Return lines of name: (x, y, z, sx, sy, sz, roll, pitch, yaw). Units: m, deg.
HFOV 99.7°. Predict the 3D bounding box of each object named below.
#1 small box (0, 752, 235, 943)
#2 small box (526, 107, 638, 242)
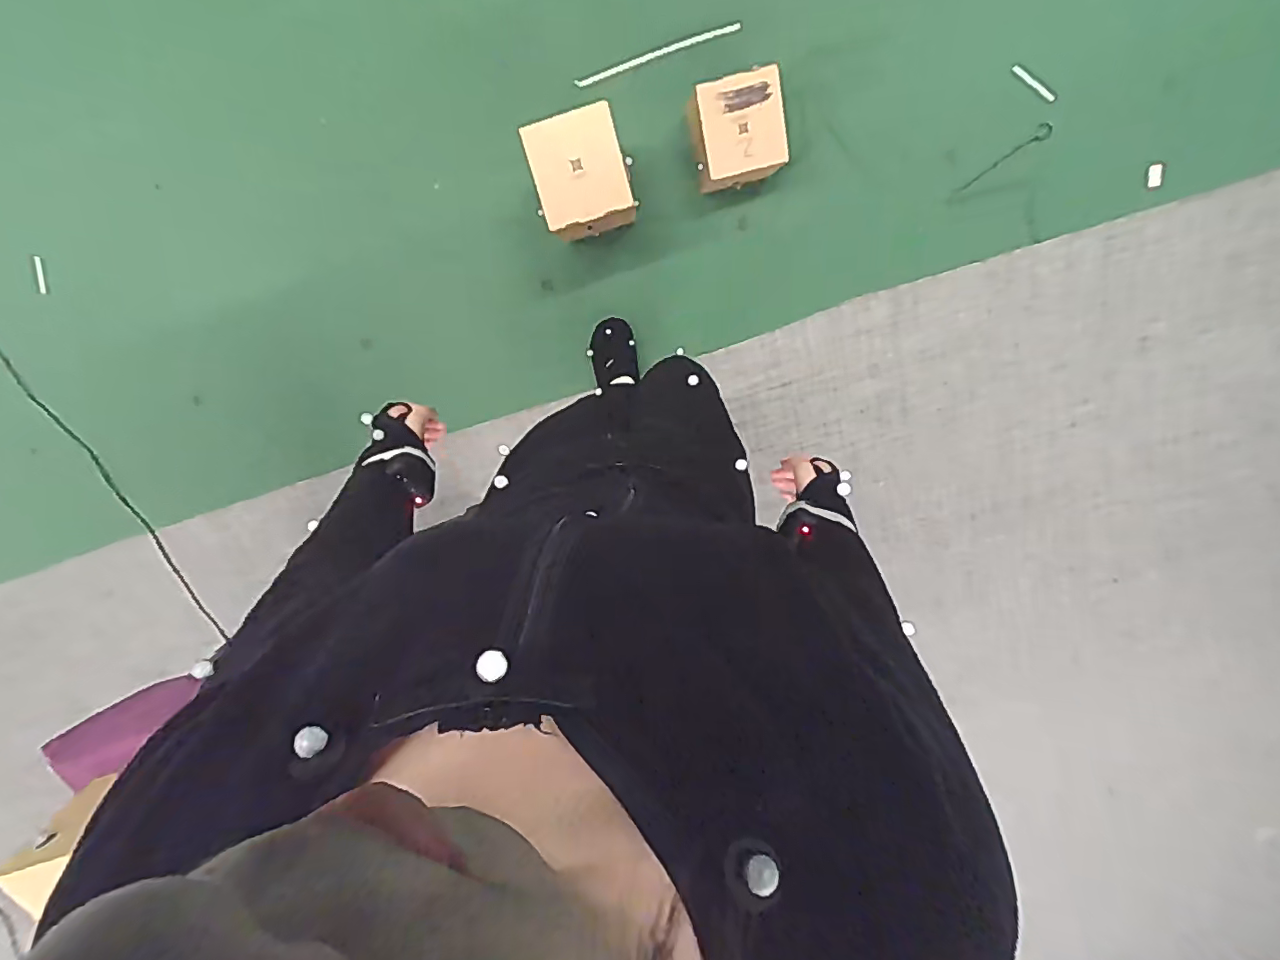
small box: (-0.812, 0.575, 0.861, 0.179, 0.176, 0.168, -18, 109, 3)
small box: (-0.105, -0.583, 1.055, 0.168, 0.176, 0.179, -15, 109, 6)
